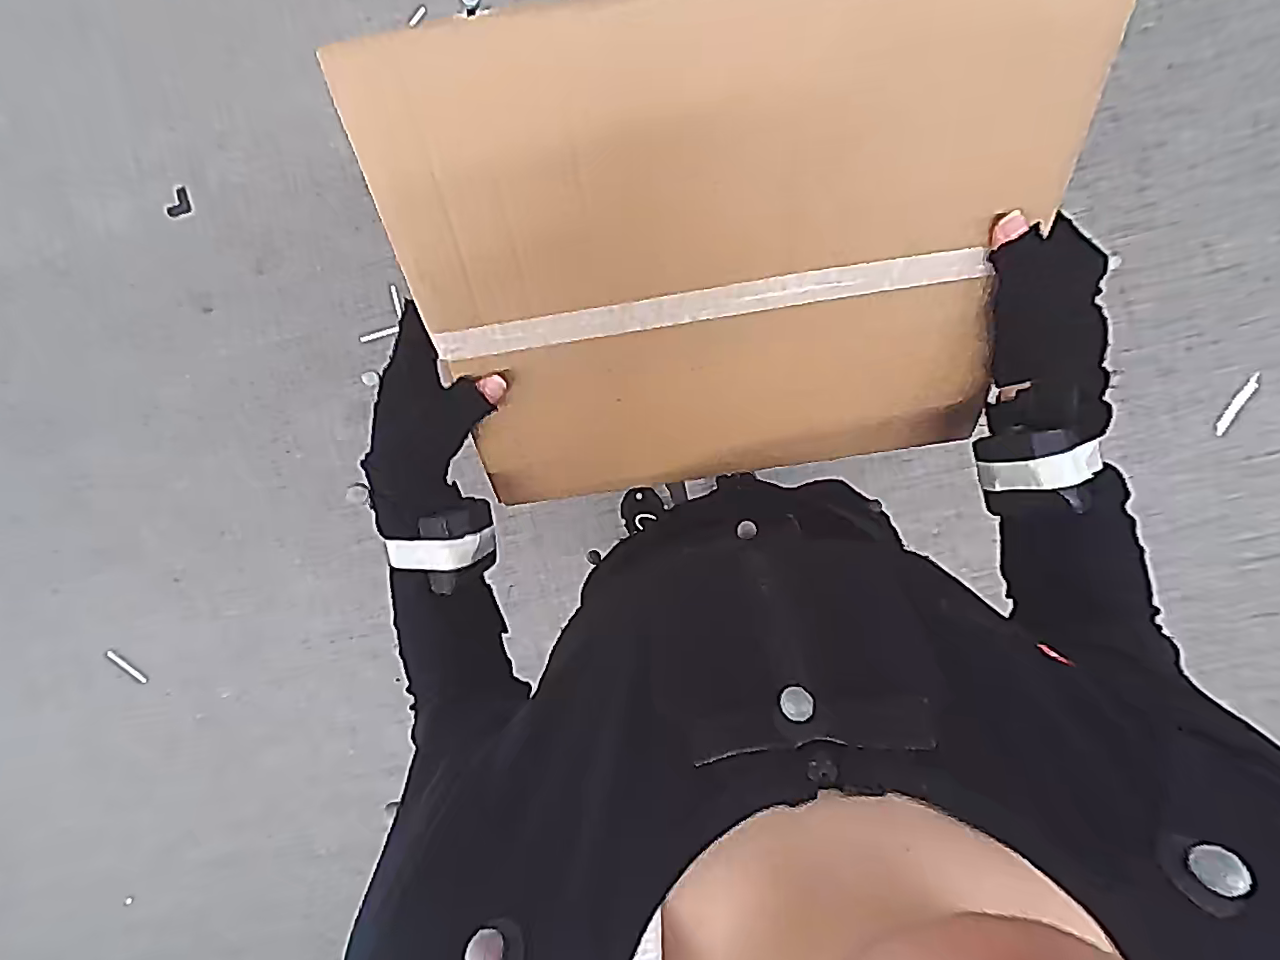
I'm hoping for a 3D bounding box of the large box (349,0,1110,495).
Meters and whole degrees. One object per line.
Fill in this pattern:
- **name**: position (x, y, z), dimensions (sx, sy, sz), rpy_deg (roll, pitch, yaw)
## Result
- **large box**: position (0.049, -0.226, 0.478), dimensions (0.408, 0.320, 0.320), rpy_deg (-8, 133, 0)
